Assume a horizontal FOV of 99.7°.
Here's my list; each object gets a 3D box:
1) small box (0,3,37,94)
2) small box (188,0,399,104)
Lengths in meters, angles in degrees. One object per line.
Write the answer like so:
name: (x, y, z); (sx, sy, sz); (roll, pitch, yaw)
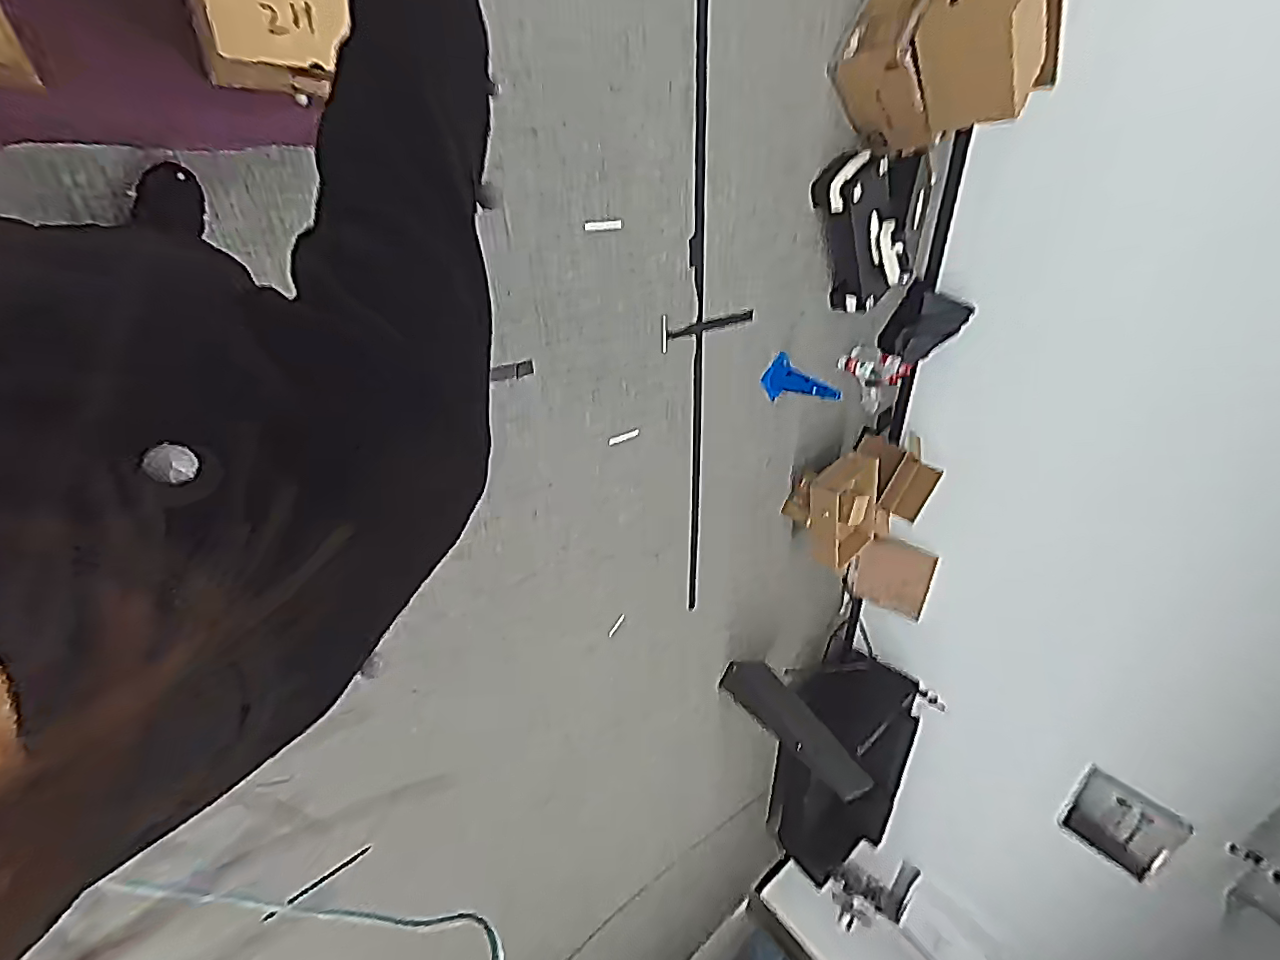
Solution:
small box: (-0.621, -0.406, 0.406); (0.168, 0.176, 0.179); (-26, 128, -30)
small box: (-0.375, -0.519, 0.567); (0.168, 0.176, 0.179); (-17, 123, -34)
